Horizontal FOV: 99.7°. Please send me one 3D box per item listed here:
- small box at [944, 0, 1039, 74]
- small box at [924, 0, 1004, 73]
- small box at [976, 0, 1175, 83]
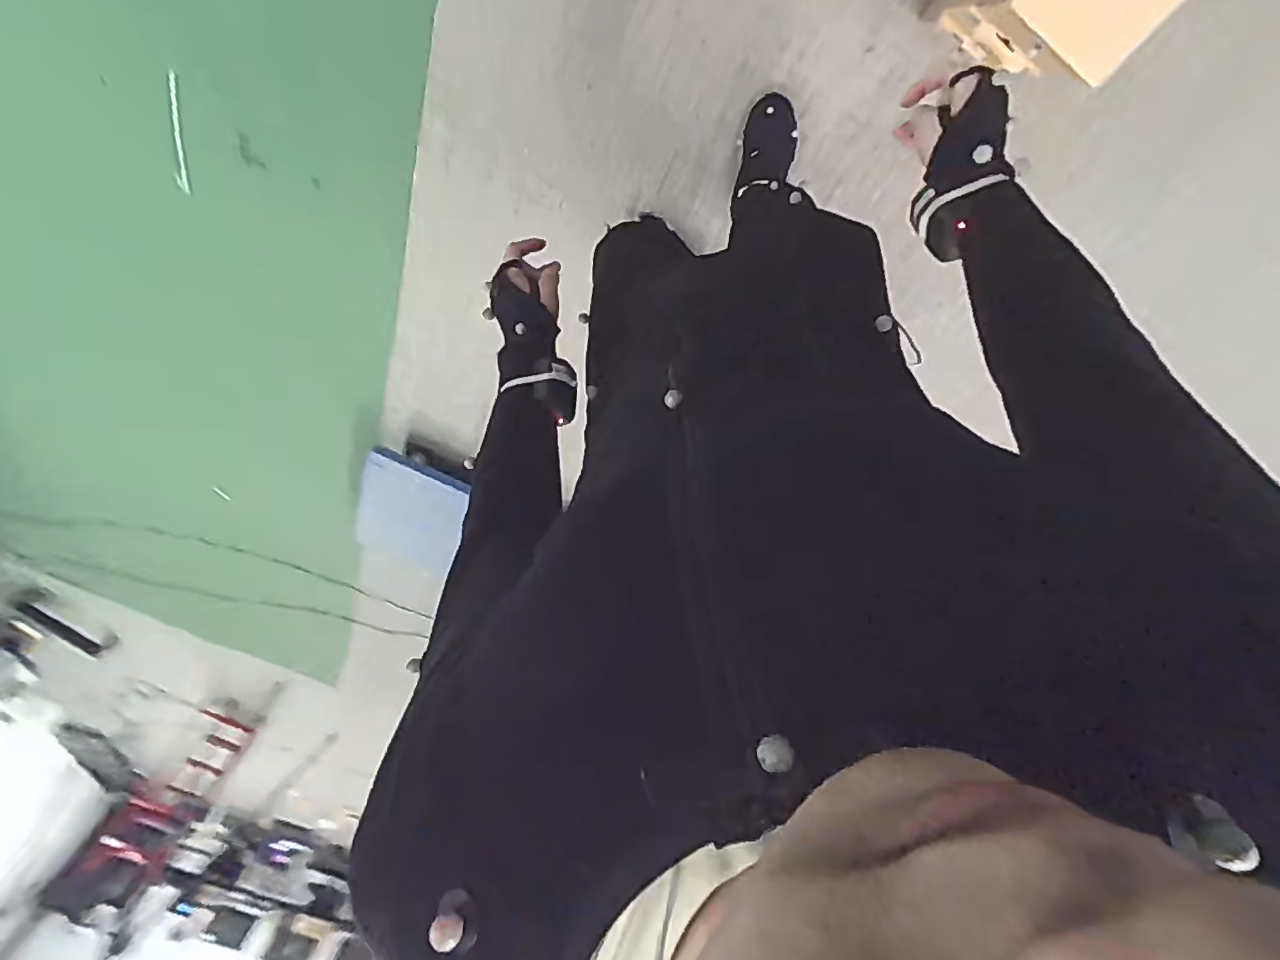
[{"bbox_3d":[0.617,-0.783,0.844,0.168,0.176,0.179,31,130,-13],"label":"small box"},{"bbox_3d":[0.642,-0.882,0.974,0.168,0.176,0.179,28,131,-11],"label":"small box"},{"bbox_3d":[0.594,-0.675,0.723,0.179,0.176,0.168,31,130,-13],"label":"small box"}]
